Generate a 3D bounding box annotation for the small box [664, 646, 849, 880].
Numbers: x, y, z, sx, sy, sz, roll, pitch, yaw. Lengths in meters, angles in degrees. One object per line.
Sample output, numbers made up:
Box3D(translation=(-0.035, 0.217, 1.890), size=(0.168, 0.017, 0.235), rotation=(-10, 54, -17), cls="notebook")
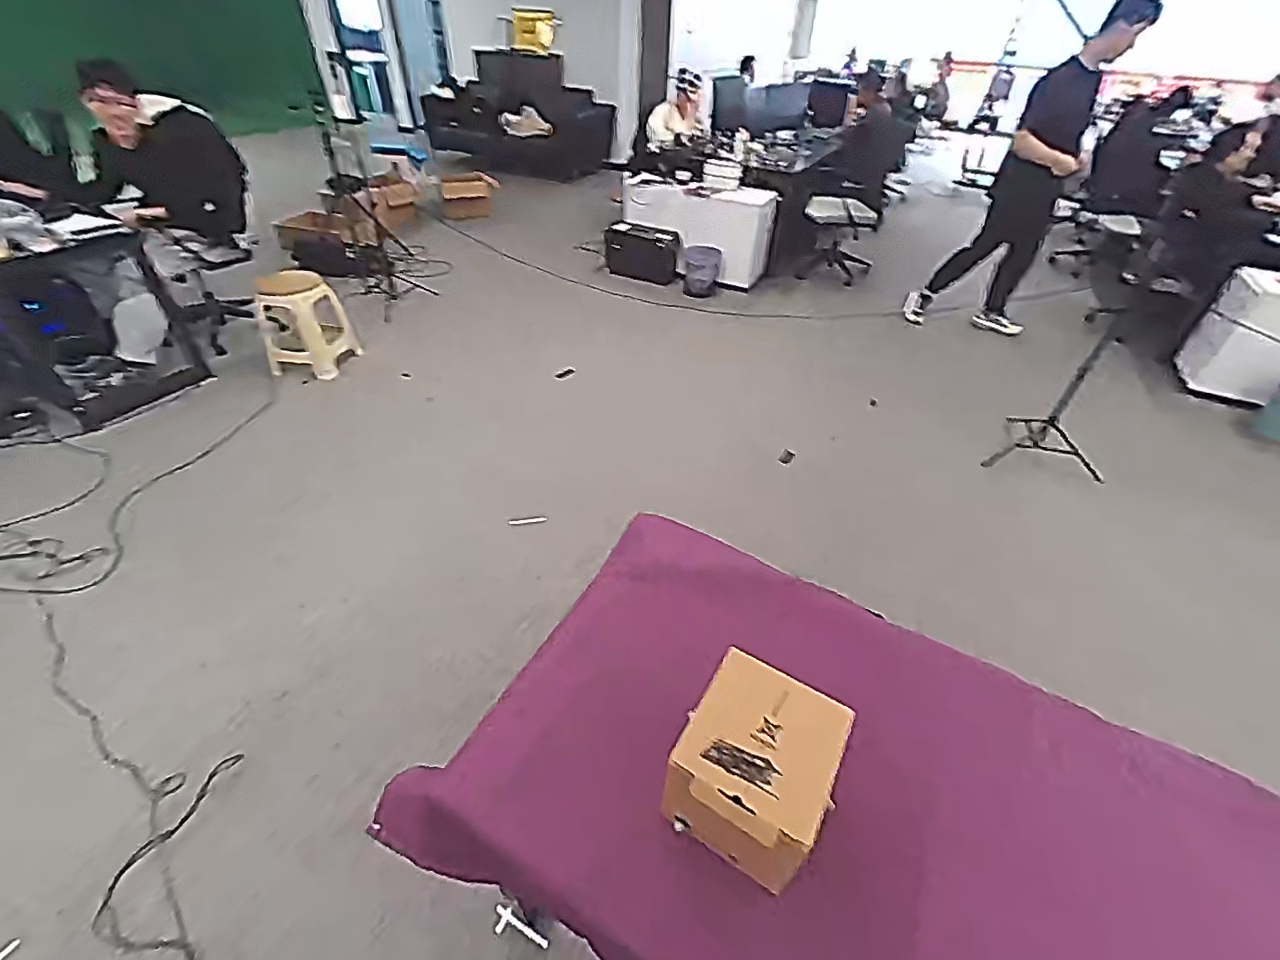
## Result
Box3D(translation=(0.140, 0.356, 0.685), size=(0.168, 0.176, 0.179), rotation=(24, 44, 22), cls="small box")
